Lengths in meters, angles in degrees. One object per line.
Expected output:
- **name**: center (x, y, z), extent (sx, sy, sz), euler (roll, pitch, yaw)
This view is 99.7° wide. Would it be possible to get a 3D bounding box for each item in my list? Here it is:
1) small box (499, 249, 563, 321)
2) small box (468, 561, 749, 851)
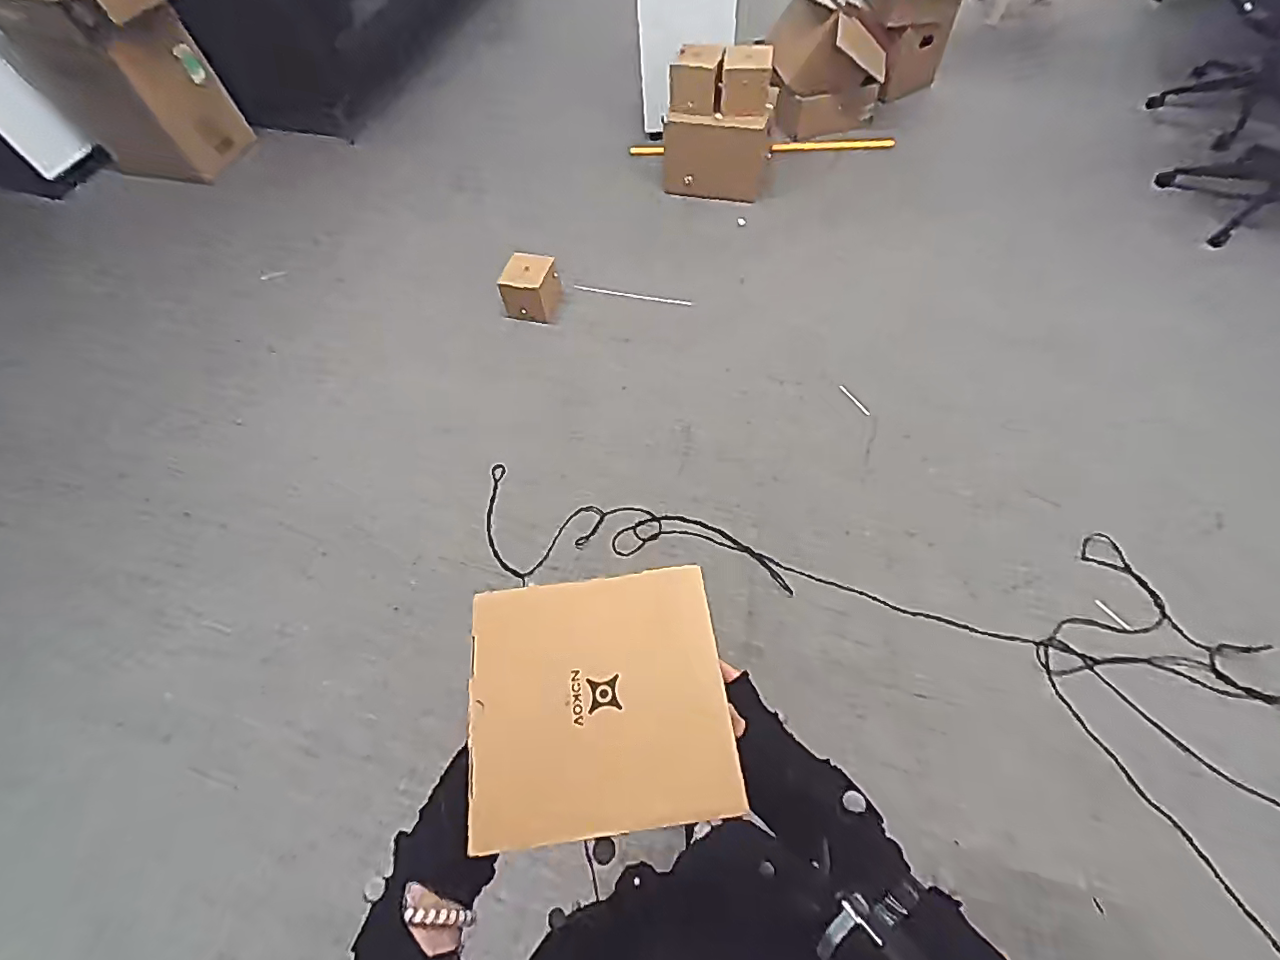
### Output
- **small box**: center (-0.399, -0.729, 2.024), extent (0.168, 0.176, 0.179), euler (12, 62, 12)
- **small box**: center (-0.026, 0.179, 0.435), extent (0.179, 0.176, 0.168), euler (-8, 62, -1)
